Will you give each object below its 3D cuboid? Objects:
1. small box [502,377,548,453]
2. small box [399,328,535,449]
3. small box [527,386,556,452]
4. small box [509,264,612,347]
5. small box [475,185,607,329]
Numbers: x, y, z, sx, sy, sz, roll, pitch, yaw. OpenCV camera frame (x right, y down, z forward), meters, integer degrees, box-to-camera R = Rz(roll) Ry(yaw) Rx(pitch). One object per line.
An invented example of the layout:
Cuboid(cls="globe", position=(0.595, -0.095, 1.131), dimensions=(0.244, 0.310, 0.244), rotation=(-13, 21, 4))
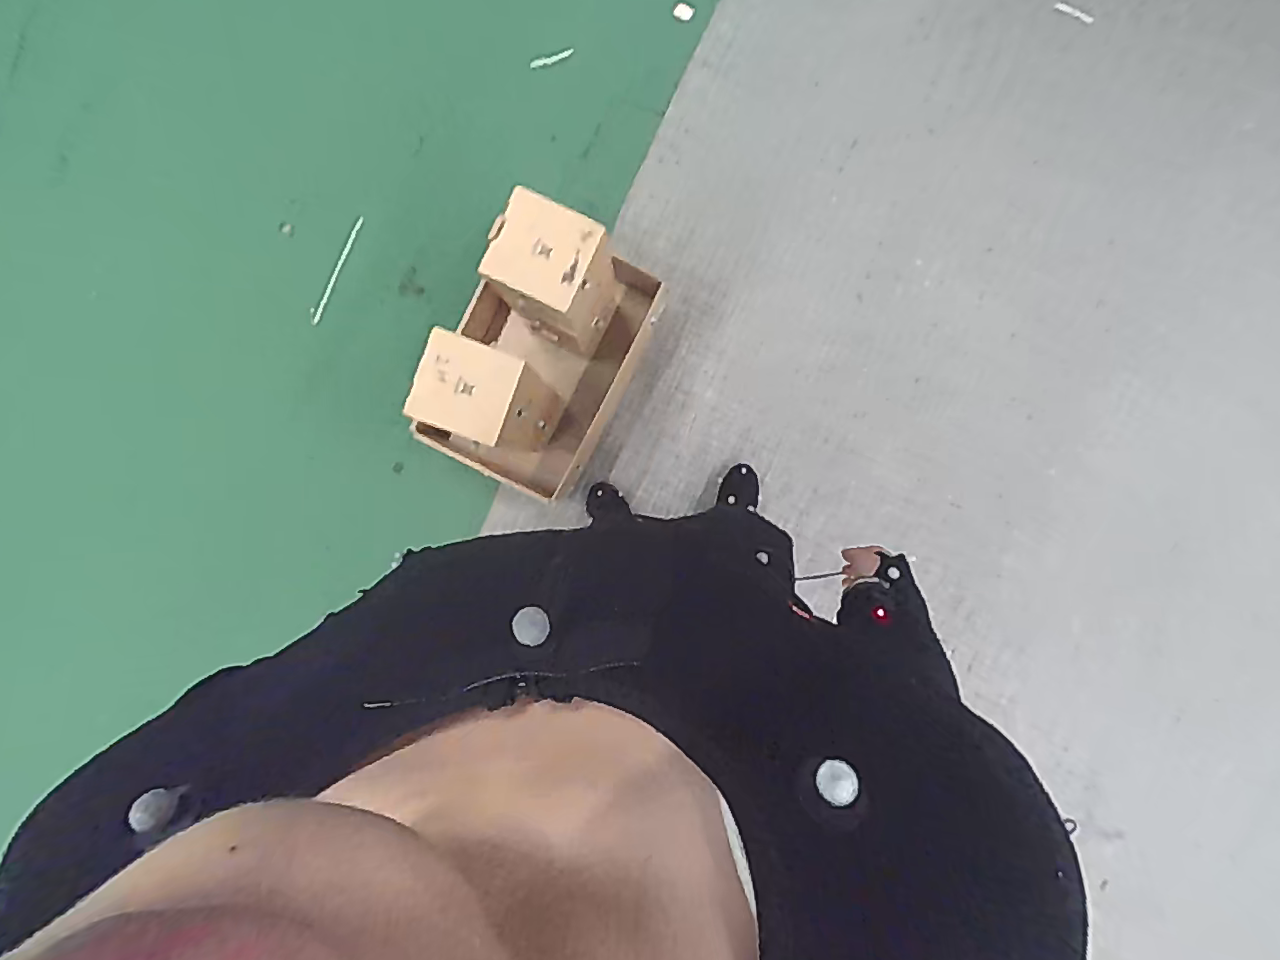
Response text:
Cuboid(cls="small box", position=(-0.318, -0.161, 1.182), dimensions=(0.179, 0.176, 0.168), rotation=(20, 90, -2))
Cuboid(cls="small box", position=(-0.312, -0.161, 1.018), dimensions=(0.179, 0.176, 0.168), rotation=(20, 89, -1))
Cuboid(cls="small box", position=(-0.327, -0.174, 1.347), dimensions=(0.179, 0.176, 0.168), rotation=(22, 90, -1))
Cuboid(cls="small box", position=(-0.175, -0.409, 1.179), dimensions=(0.179, 0.176, 0.168), rotation=(28, 92, -2))
Cuboid(cls="small box", position=(-0.175, -0.404, 1.014), dimensions=(0.179, 0.176, 0.168), rotation=(25, 91, 0))
